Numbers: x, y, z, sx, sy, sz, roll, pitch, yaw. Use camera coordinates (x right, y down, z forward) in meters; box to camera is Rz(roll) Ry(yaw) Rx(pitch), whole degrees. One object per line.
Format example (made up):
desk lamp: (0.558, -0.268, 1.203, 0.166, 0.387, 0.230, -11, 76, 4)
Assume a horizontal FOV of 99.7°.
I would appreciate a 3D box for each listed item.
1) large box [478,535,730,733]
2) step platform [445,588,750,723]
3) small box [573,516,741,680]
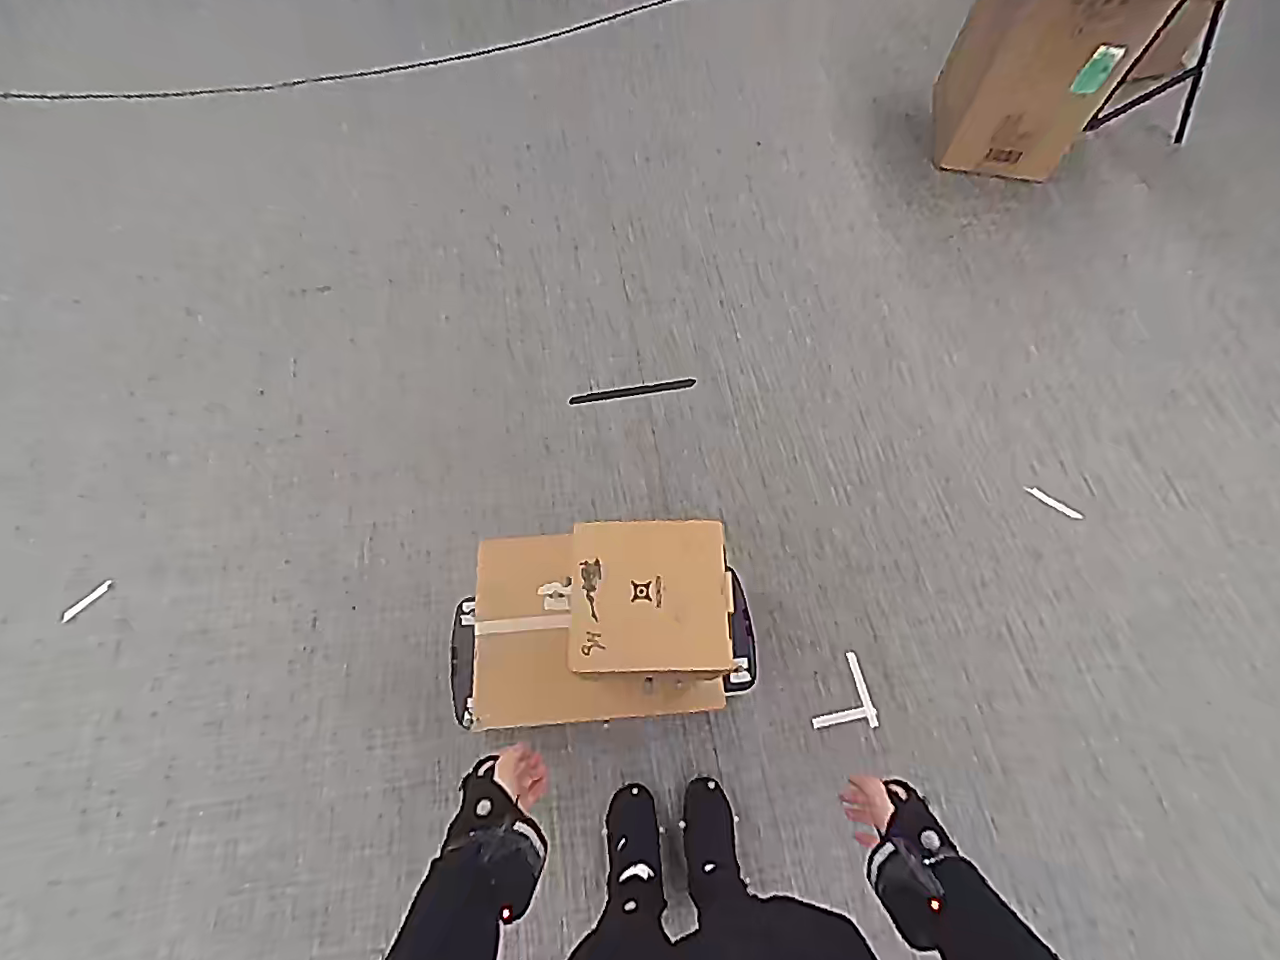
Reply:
large box: (-0.065, 0.293, 1.040, 0.408, 0.320, 0.320, -5, 66, -1)
step platform: (-0.091, 0.394, 1.256, 0.684, 0.204, 0.286, -3, 67, 0)
small box: (0.016, 0.149, 0.657, 0.179, 0.176, 0.168, 0, 66, -1)
